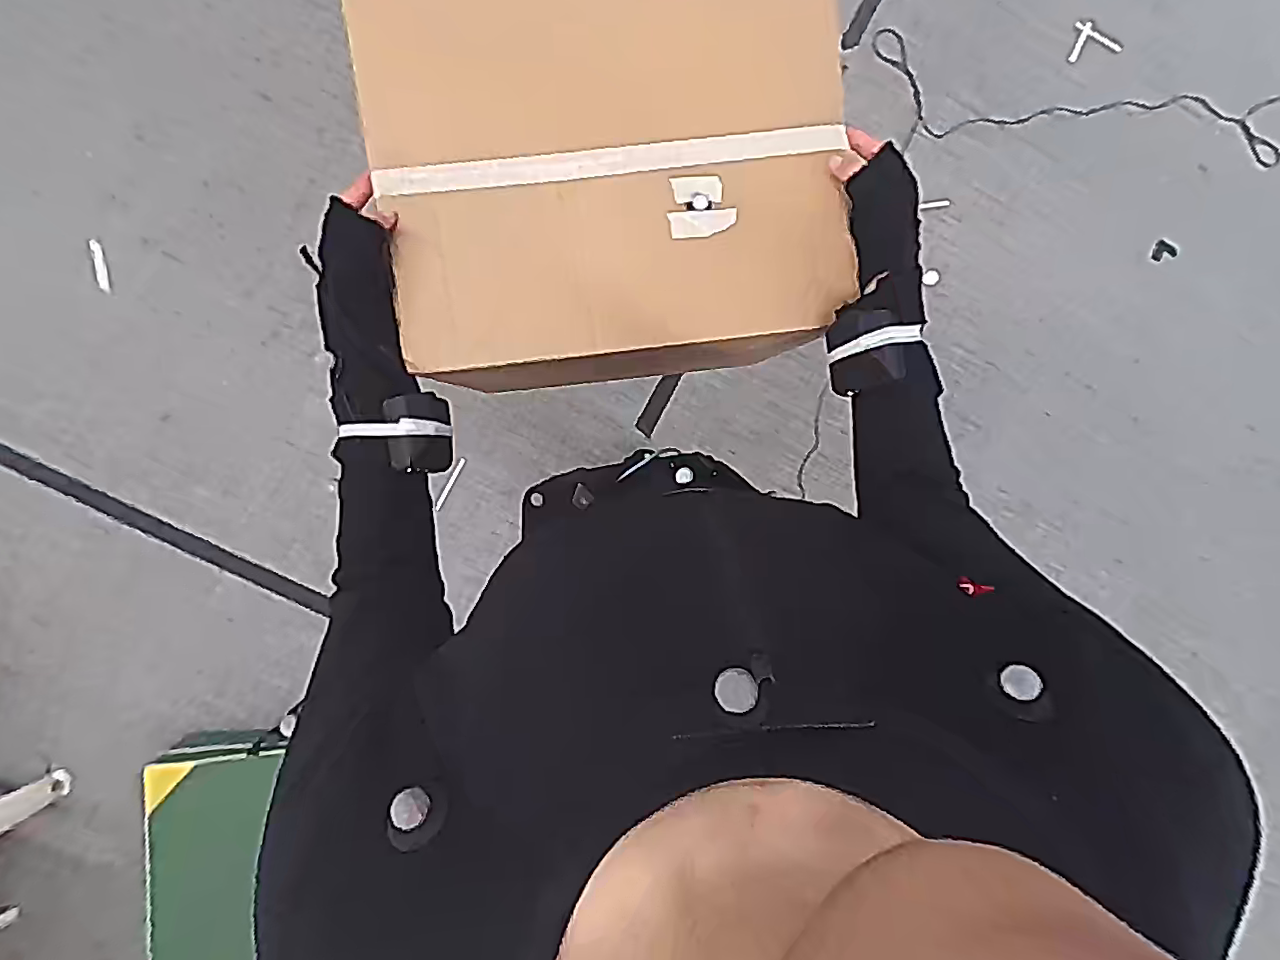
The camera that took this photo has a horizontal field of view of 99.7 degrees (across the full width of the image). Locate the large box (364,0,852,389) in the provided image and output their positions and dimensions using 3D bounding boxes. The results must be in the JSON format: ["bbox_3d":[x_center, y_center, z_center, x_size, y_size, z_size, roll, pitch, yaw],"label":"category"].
[{"bbox_3d":[-0.028,-0.287,0.619,0.408,0.320,0.320,-6,98,-4],"label":"large box"}]
